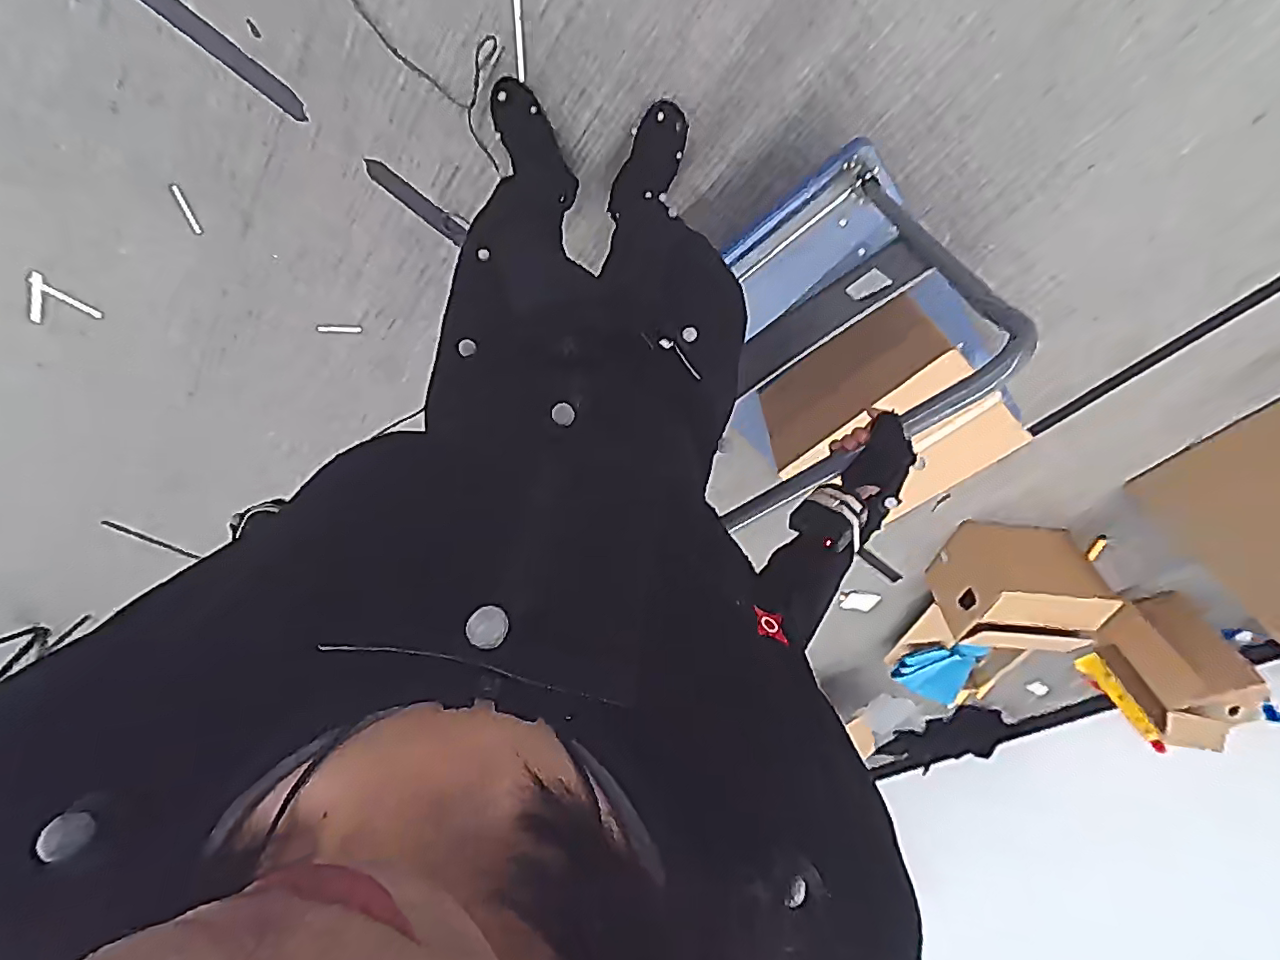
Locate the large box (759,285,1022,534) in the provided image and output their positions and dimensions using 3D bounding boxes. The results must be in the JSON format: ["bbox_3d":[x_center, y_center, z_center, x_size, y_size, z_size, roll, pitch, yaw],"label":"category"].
[{"bbox_3d":[0.539,-0.153,1.241,0.320,0.320,0.408,34,125,-24],"label":"large box"}]
